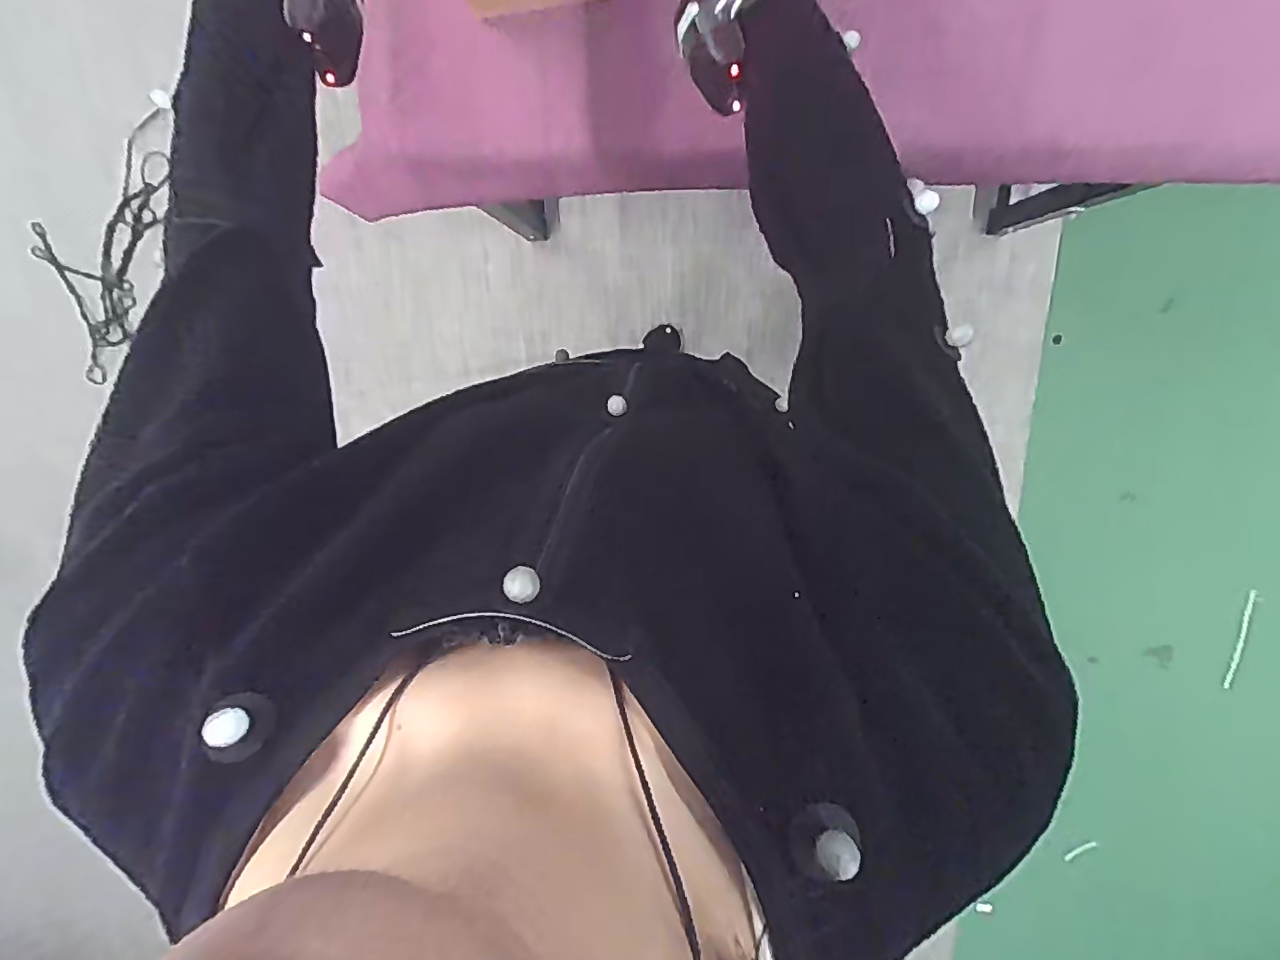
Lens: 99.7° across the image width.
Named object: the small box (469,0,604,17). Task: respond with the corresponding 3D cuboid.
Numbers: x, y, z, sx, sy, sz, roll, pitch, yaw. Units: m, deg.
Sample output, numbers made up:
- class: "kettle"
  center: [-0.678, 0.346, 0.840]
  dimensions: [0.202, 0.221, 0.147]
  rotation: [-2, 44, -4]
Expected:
- class: "small box"
  center: [-0.121, -0.608, 0.540]
  dimensions: [0.179, 0.176, 0.168]
  rotation: [-4, 105, 4]
